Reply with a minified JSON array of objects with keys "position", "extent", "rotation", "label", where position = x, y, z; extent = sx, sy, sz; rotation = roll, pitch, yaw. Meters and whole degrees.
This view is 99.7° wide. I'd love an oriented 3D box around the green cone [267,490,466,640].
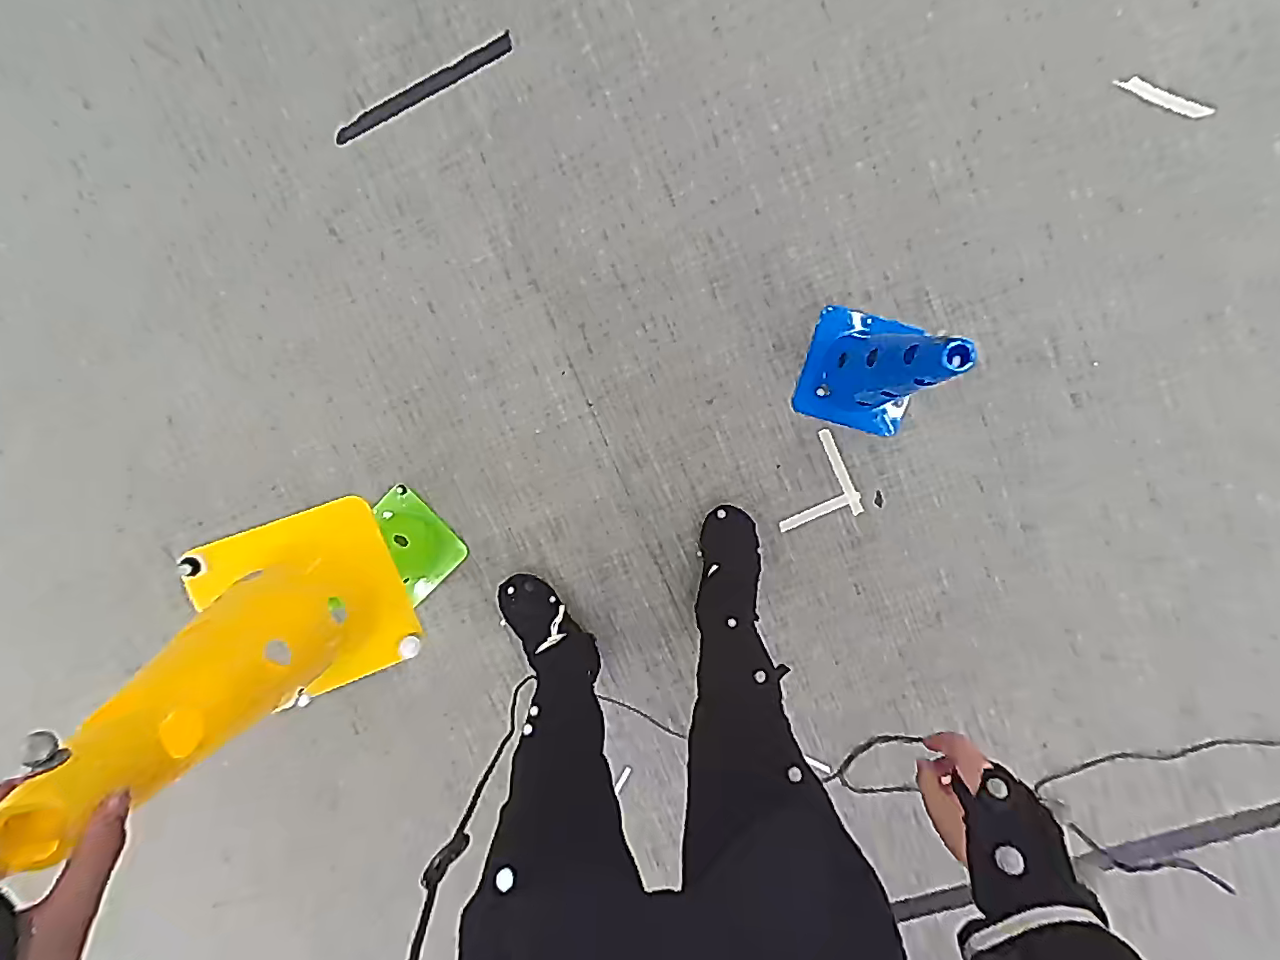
[{"position":[-0.488,0.173,0.917],"extent":[0.200,0.368,0.202],"rotation":[-44,93,9],"label":"green cone"}]
